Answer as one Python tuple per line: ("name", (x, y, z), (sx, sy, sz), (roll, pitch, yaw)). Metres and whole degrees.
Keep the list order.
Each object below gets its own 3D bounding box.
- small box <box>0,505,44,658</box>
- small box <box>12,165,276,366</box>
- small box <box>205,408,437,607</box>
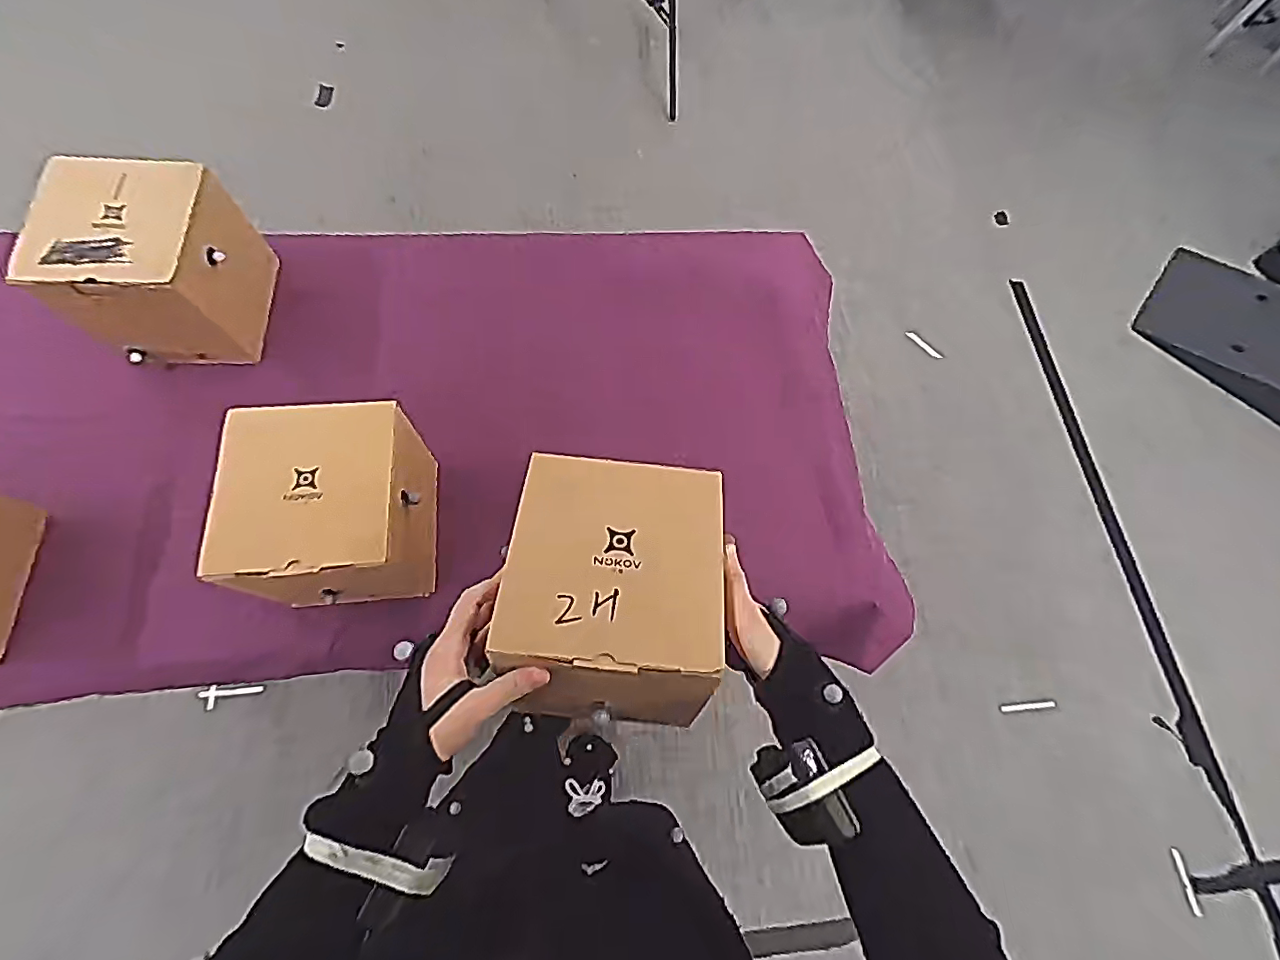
("small box", (-0.772, 0.100, 0.537), (0.168, 0.176, 0.179), (-2, 71, -7))
("small box", (-0.597, -0.258, 0.683), (0.168, 0.176, 0.179), (-1, 71, -6))
("small box", (-0.333, 0.037, 0.606), (0.168, 0.176, 0.179), (-4, 70, -7))
